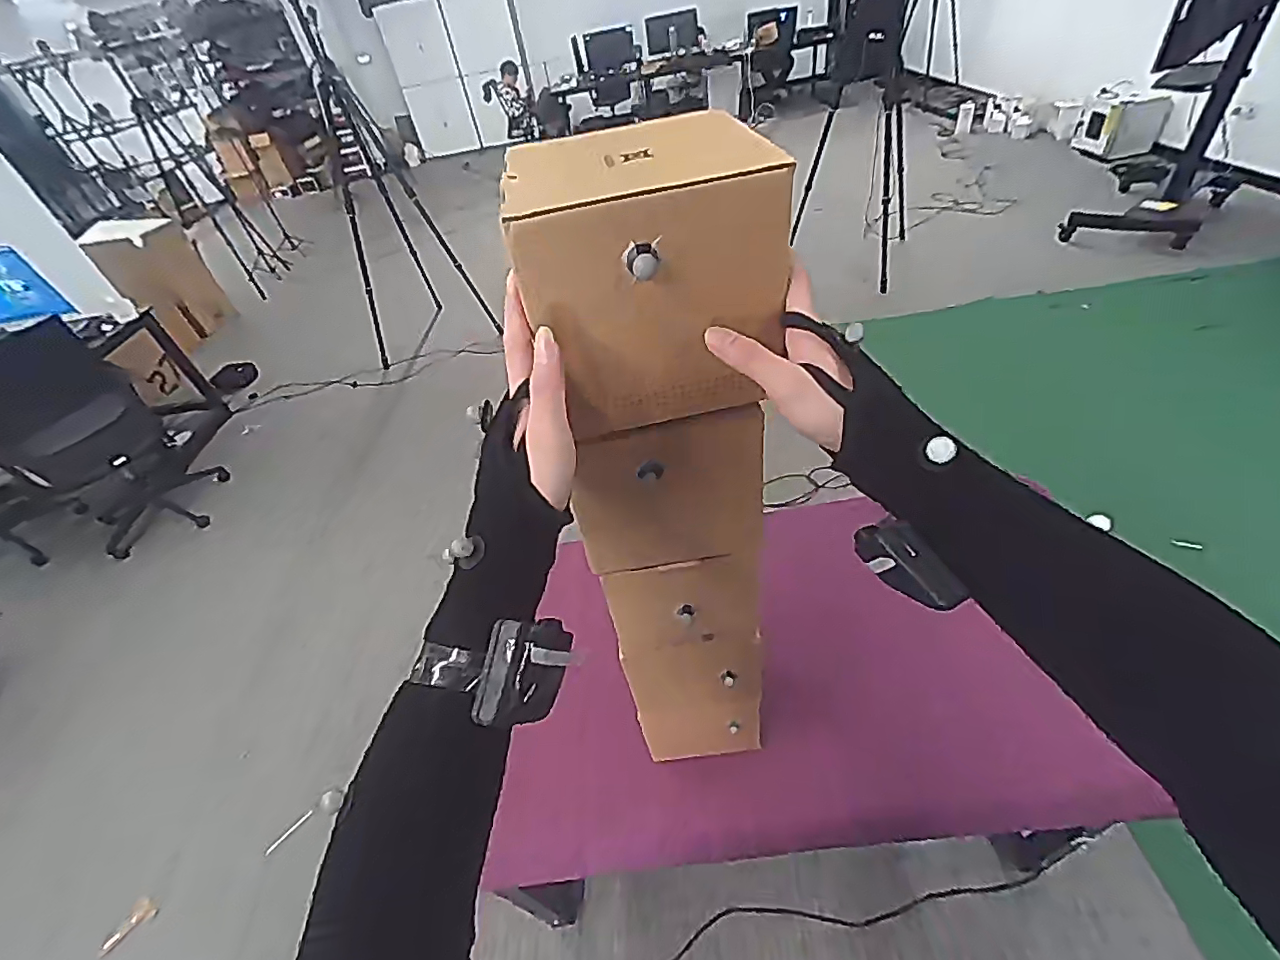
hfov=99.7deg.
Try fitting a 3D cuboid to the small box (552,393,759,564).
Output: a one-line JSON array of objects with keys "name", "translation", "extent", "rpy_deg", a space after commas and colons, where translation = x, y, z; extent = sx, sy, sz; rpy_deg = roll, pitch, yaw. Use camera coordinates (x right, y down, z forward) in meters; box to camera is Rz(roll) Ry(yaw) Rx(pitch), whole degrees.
[{"name": "small box", "translation": [0.019, -0.032, 0.552], "extent": [0.179, 0.176, 0.168], "rpy_deg": [-9, 41, 2]}]

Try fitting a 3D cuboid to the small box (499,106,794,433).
[{"name": "small box", "translation": [0.003, -0.160, 0.420], "extent": [0.179, 0.176, 0.168], "rpy_deg": [-12, 44, 0]}]

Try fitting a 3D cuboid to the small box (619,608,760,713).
[{"name": "small box", "translation": [0.067, 0.209, 0.768], "extent": [0.179, 0.176, 0.168], "rpy_deg": [-9, 42, 4]}]

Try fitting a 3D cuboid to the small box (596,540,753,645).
[{"name": "small box", "translation": [0.042, 0.086, 0.664], "extent": [0.168, 0.176, 0.179], "rpy_deg": [-9, 42, 2]}]
